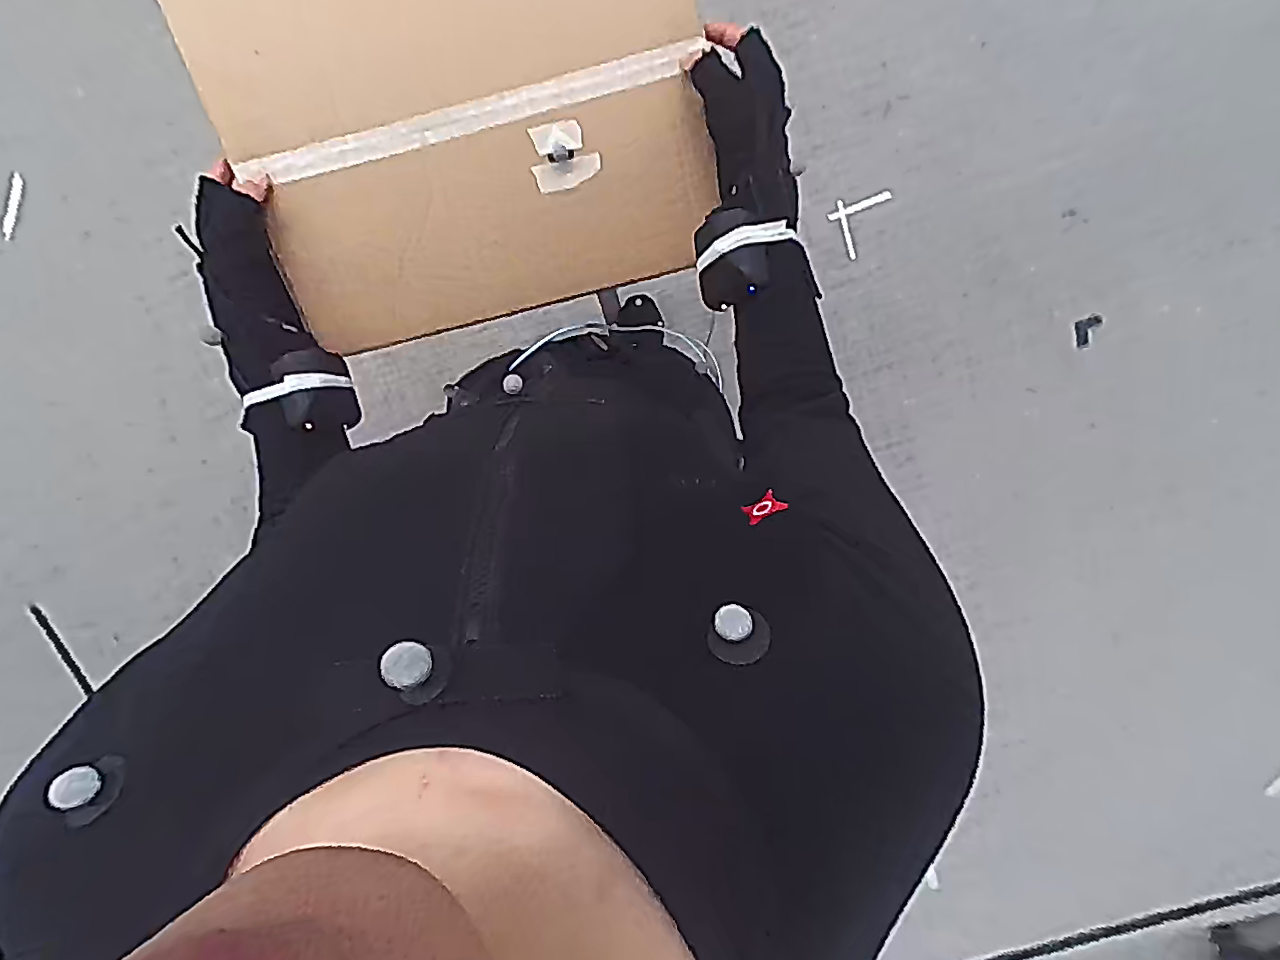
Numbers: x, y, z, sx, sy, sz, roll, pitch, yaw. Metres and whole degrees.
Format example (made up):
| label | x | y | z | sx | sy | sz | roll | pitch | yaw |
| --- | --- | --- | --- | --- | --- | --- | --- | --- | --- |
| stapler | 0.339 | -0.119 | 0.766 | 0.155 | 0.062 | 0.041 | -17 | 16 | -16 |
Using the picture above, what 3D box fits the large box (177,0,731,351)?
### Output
| label | x | y | z | sx | sy | sz | roll | pitch | yaw |
| --- | --- | --- | --- | --- | --- | --- | --- | --- | --- |
| large box | -0.152 | -0.362 | 0.604 | 0.408 | 0.320 | 0.320 | -15 | 112 | 1 |
